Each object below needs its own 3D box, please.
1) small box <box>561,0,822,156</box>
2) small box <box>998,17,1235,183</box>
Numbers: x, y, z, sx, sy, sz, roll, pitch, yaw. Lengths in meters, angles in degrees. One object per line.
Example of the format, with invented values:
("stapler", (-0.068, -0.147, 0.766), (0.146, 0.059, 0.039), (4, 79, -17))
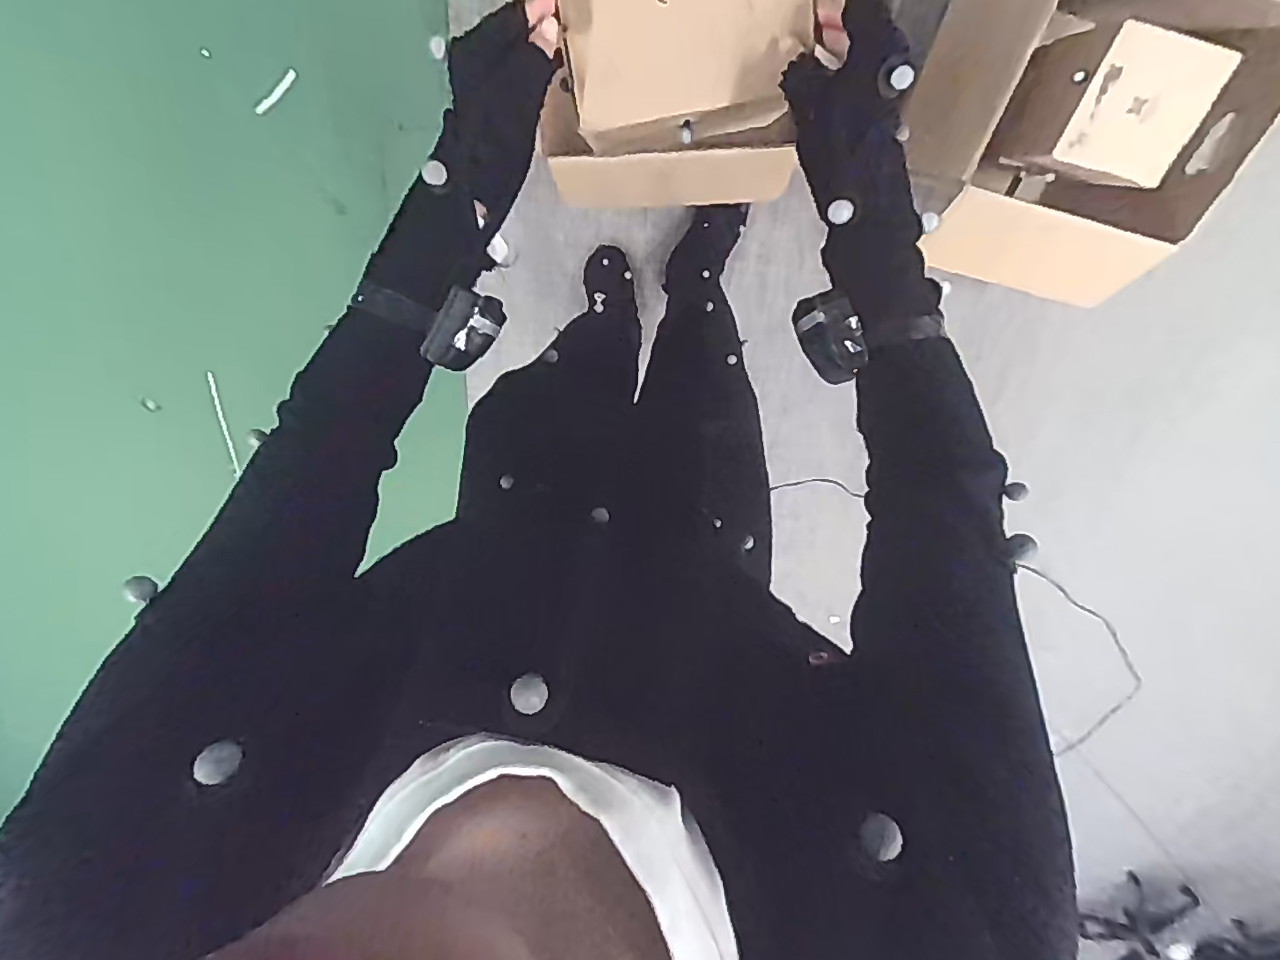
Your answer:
("small box", (0.032, -0.372, 0.431), (0.179, 0.176, 0.168), (-9, 117, 4))
("small box", (0.714, -0.576, 0.837), (0.179, 0.176, 0.168), (12, 120, -5))
